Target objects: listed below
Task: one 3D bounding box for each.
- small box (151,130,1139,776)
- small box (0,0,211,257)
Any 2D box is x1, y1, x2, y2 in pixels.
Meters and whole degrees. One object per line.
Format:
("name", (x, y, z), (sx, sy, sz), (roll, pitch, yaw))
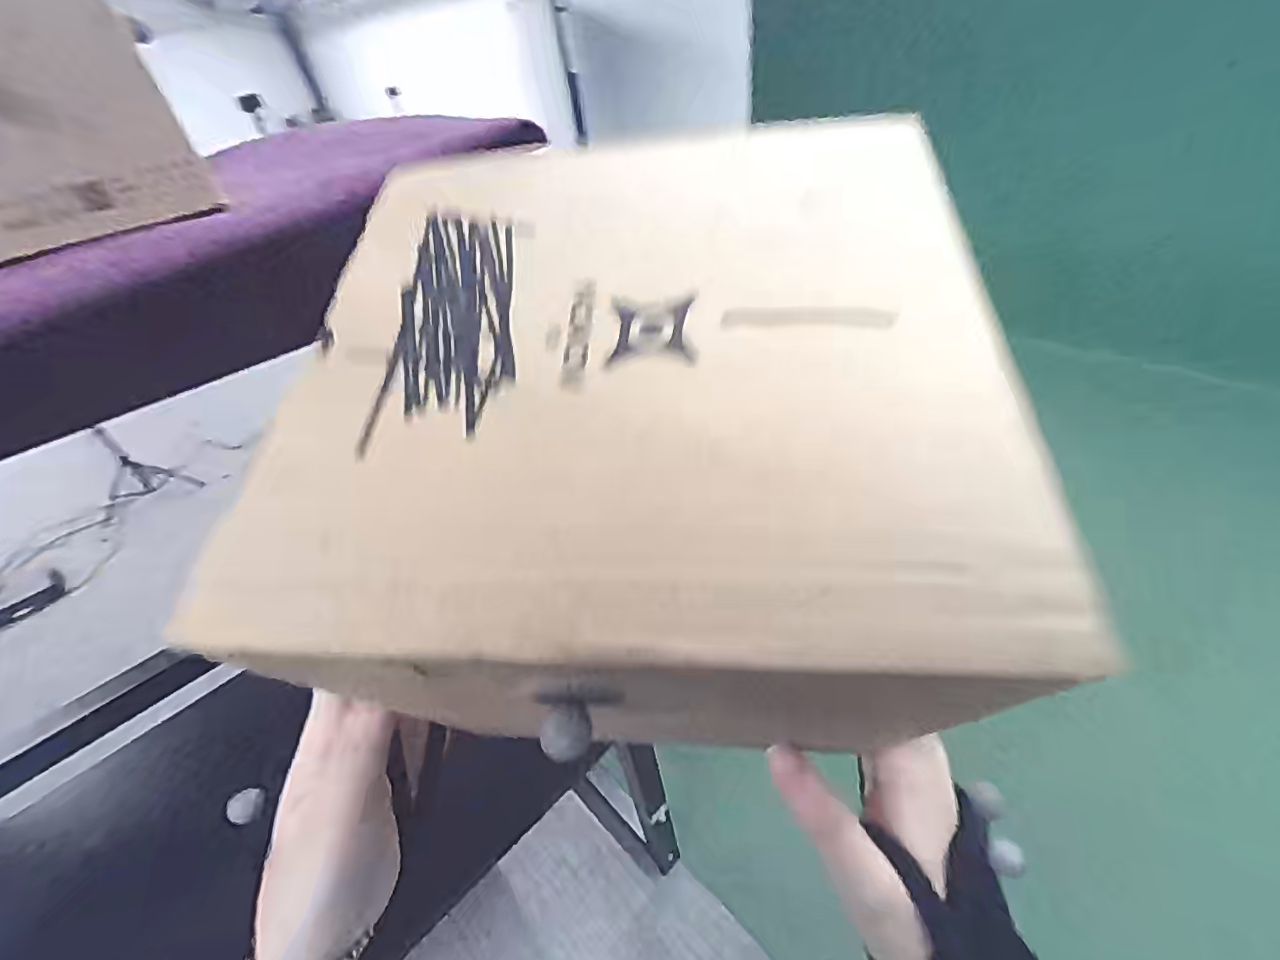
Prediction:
("small box", (0.006, 0.008, 0.200), (0.179, 0.176, 0.168), (0, 59, 8))
("small box", (-0.391, -0.233, 0.315), (0.168, 0.176, 0.179), (-32, 41, -24))
